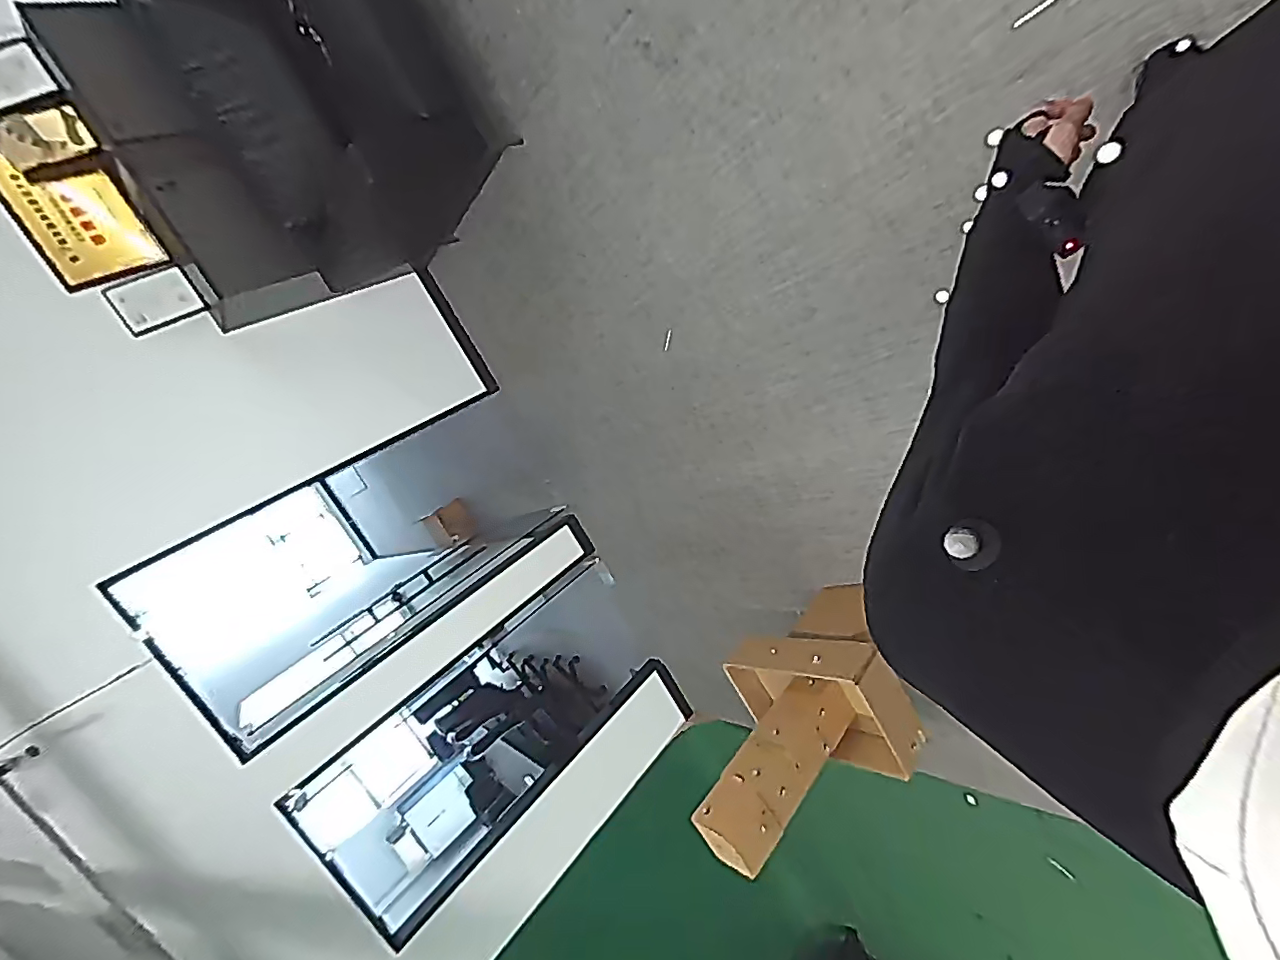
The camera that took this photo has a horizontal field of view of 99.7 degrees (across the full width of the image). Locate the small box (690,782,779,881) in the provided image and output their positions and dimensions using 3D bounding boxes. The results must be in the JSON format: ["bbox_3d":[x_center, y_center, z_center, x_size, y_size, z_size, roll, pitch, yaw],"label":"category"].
[{"bbox_3d":[0.294,1.075,1.674,0.168,0.176,0.179,58,147,-8],"label":"small box"}]

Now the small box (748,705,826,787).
[{"bbox_3d":[0.512,0.902,1.850,0.179,0.176,0.168,-17,106,56],"label":"small box"}]

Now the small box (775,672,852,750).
[{"bbox_3d":[0.625,0.820,1.936,0.168,0.176,0.179,-19,104,56],"label":"small box"}]
